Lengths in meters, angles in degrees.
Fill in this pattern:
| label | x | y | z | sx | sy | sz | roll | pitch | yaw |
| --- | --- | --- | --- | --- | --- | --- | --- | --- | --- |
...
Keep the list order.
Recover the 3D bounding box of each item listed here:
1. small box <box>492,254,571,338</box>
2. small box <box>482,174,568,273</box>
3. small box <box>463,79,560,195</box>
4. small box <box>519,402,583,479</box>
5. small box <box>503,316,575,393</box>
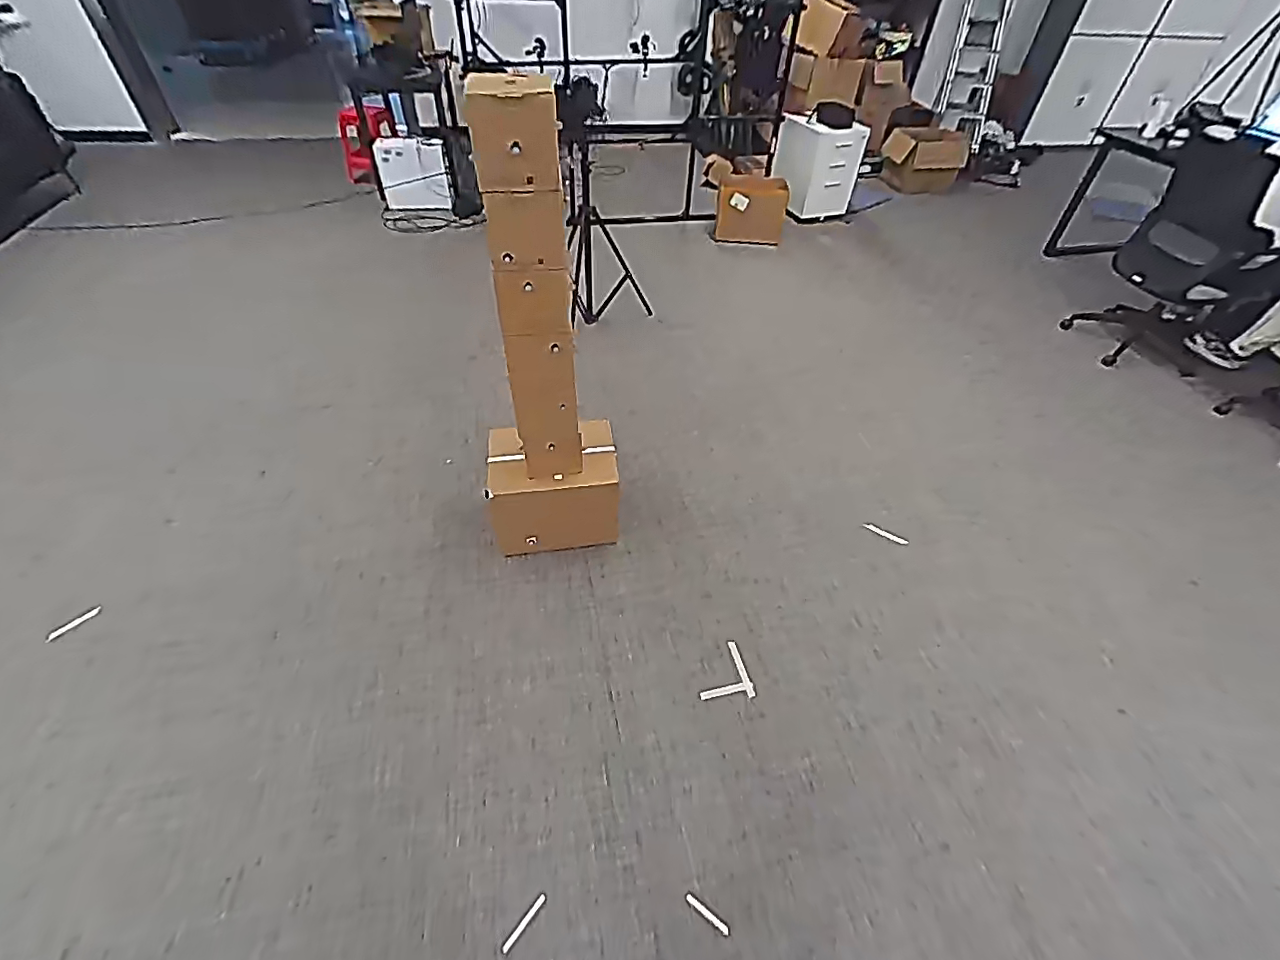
| label | x | y | z | sx | sy | sz | roll | pitch | yaw |
| --- | --- | --- | --- | --- | --- | --- | --- | --- | --- |
| small box | -0.262 | -0.464 | 1.334 | 0.179 | 0.176 | 0.168 | -5 | 47 | -7 |
| small box | -0.254 | -0.580 | 1.217 | 0.168 | 0.176 | 0.179 | -5 | 46 | -7 |
| small box | -0.255 | -0.692 | 1.098 | 0.168 | 0.176 | 0.179 | -6 | 48 | -8 |
| small box | -0.275 | -0.120 | 1.683 | 0.179 | 0.176 | 0.168 | -7 | 47 | -11 |
| small box | -0.267 | -0.351 | 1.449 | 0.179 | 0.176 | 0.168 | -5 | 46 | -7 |
